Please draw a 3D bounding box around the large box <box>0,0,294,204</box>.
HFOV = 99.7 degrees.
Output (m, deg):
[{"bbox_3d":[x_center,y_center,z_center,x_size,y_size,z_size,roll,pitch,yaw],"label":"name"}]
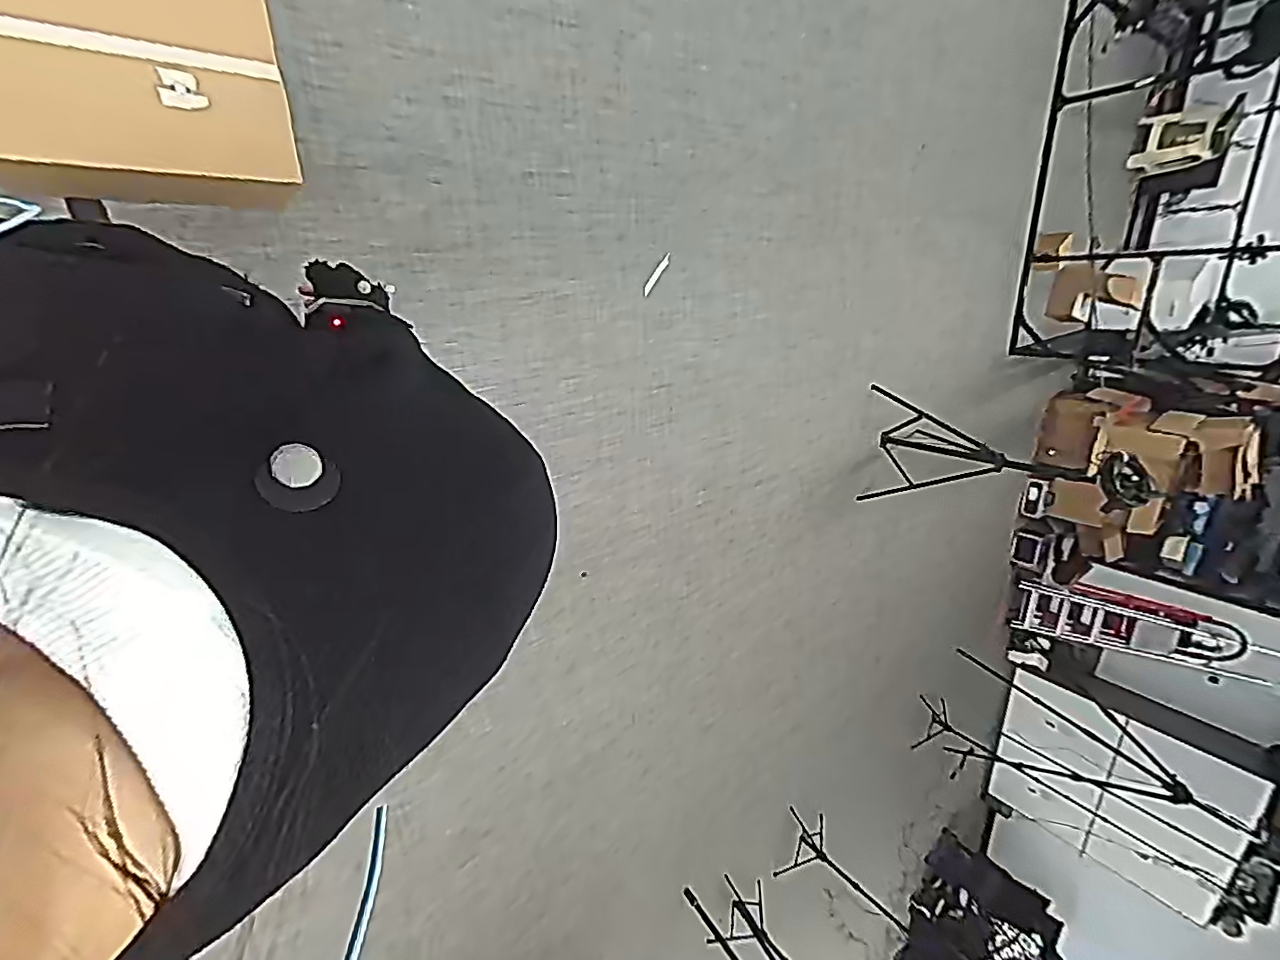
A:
[{"bbox_3d":[-0.840,-0.642,0.863,0.408,0.320,0.320,-16,114,-36],"label":"large box"}]
